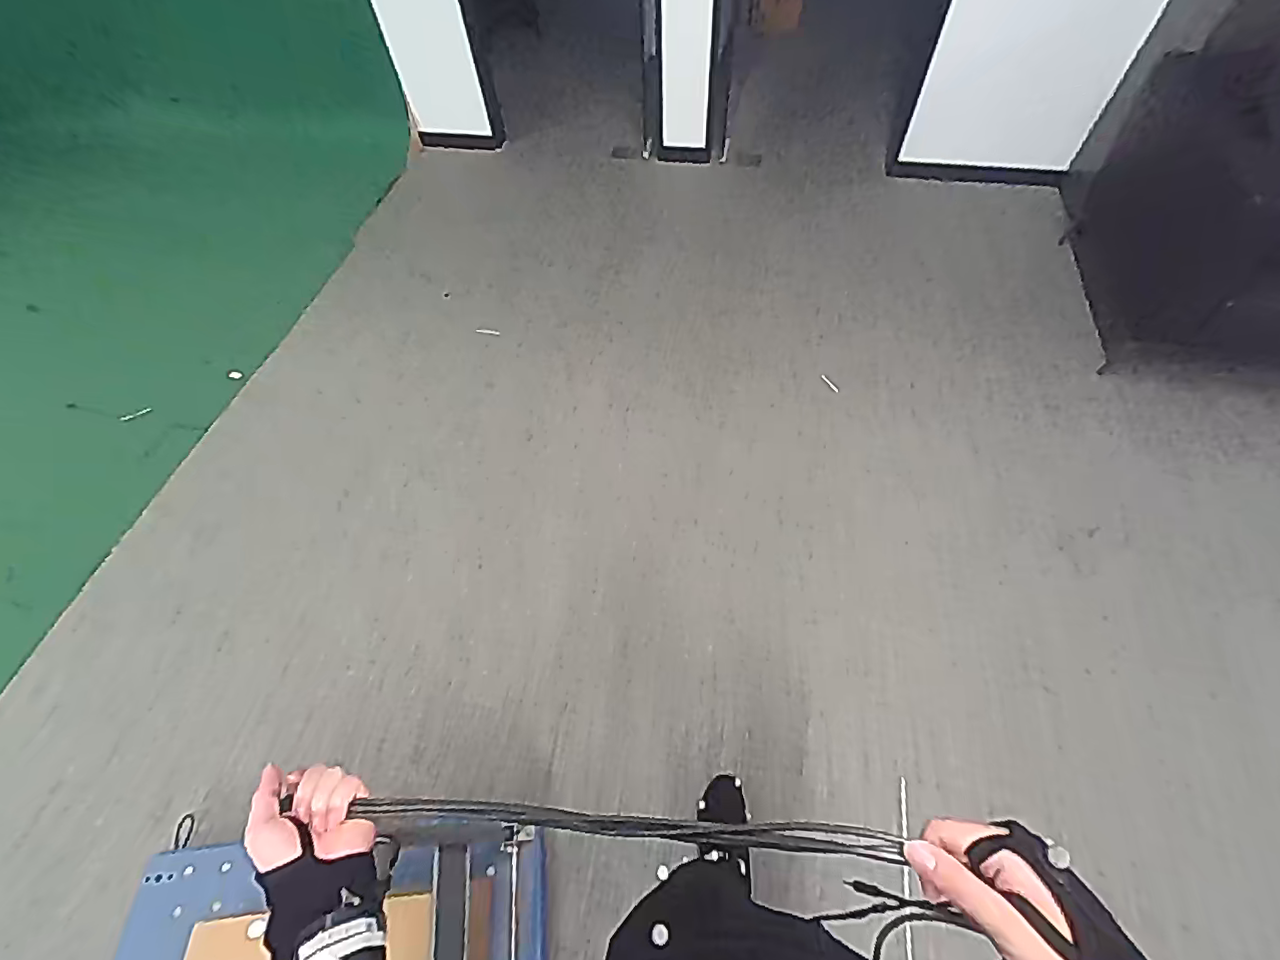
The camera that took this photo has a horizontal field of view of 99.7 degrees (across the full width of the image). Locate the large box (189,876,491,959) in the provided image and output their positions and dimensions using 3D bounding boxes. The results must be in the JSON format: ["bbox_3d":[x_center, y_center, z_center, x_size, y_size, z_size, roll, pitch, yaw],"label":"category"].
[{"bbox_3d":[-0.495,0.905,0.924,0.408,0.320,0.320,-7,57,-1],"label":"large box"}]
